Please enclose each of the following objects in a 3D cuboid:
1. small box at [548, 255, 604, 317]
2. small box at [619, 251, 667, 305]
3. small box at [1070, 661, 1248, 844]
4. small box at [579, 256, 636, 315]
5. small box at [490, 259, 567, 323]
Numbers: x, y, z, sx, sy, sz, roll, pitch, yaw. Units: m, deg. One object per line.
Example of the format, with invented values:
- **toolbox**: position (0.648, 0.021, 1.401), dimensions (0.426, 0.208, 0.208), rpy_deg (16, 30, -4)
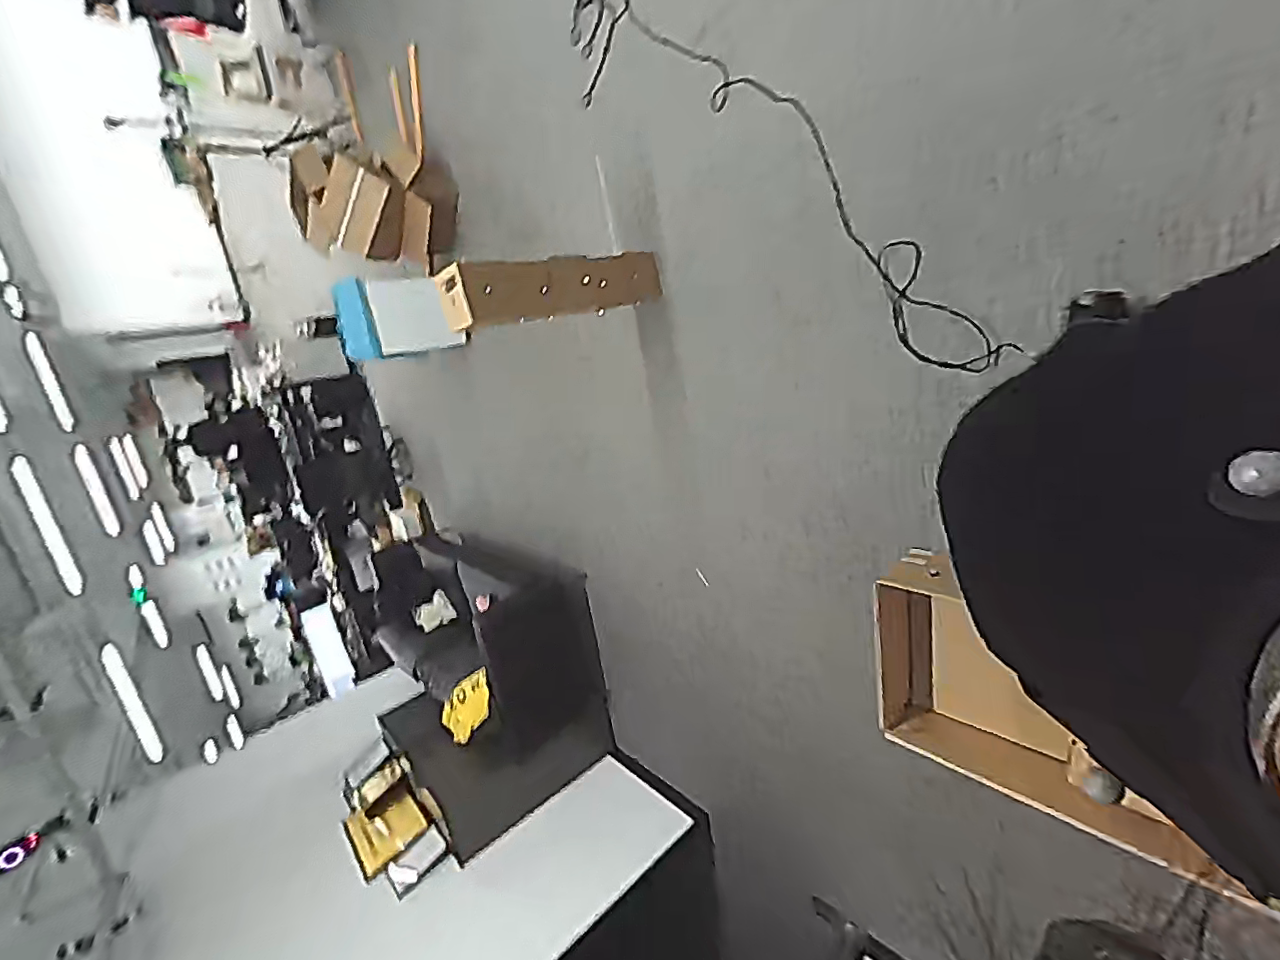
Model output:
- **small box**: position (-0.248, -0.676, 1.889), dimensions (0.168, 0.176, 0.179), rpy_deg (3, 109, 50)
- **small box**: position (-0.013, -0.777, 2.094), dimensions (0.168, 0.176, 0.179), rpy_deg (6, 111, 50)
- **small box**: position (0.832, 0.420, 0.872), dimensions (0.179, 0.176, 0.168), rpy_deg (11, 115, 49)
- **small box**: position (-0.134, -0.720, 1.999), dimensions (0.168, 0.176, 0.179), rpy_deg (6, 111, 49)
- **small box**: position (-0.366, -0.624, 1.790), dimensions (0.179, 0.176, 0.168), rpy_deg (3, 110, 49)
